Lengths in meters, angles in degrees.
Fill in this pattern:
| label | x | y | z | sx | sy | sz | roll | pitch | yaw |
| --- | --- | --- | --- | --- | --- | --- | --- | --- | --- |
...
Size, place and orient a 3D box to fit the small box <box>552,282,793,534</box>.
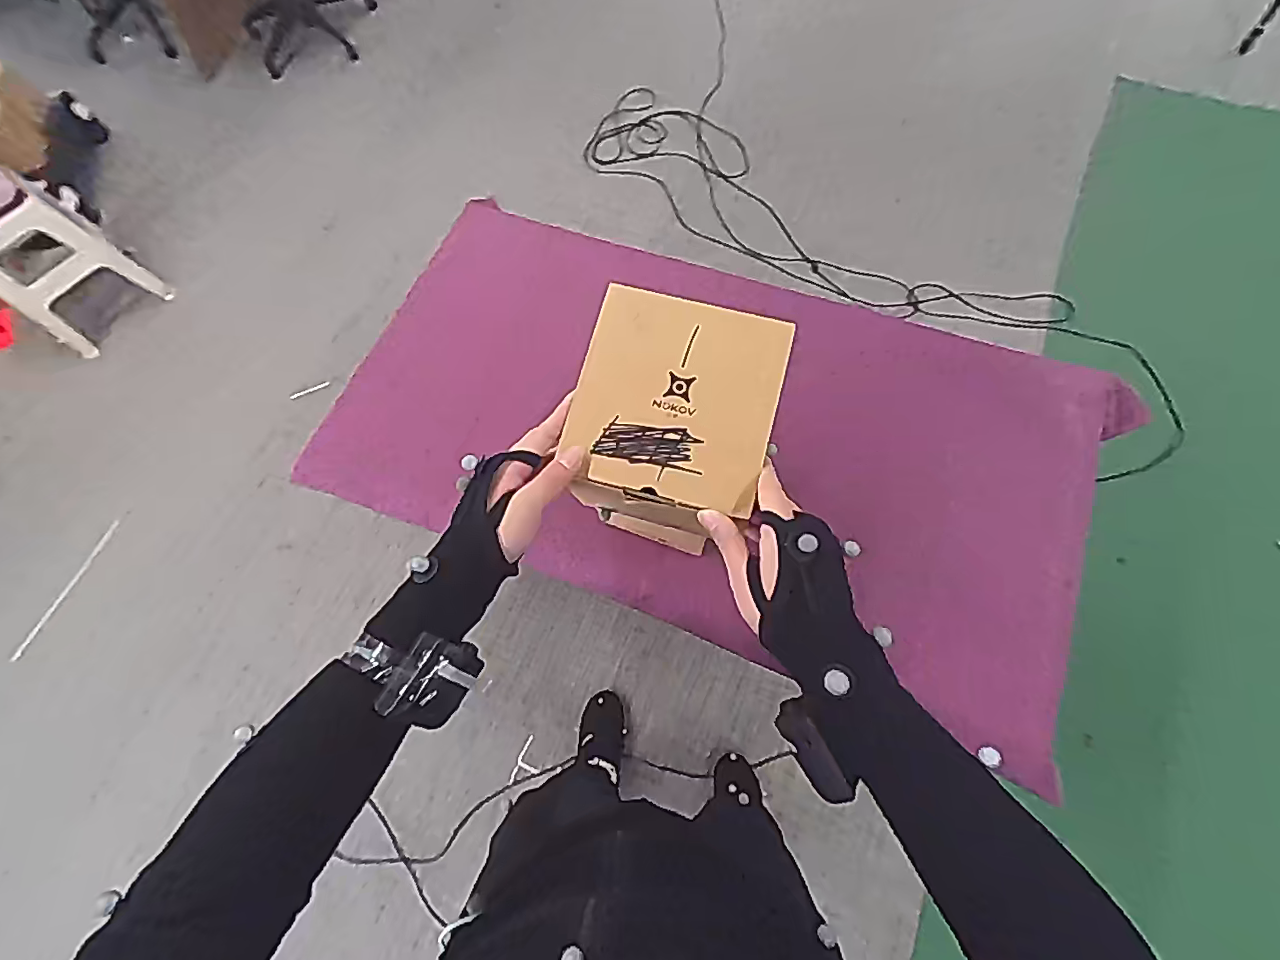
| label | x | y | z | sx | sy | sz | roll | pitch | yaw |
| --- | --- | --- | --- | --- | --- | --- | --- | --- | --- |
| small box | 0.033 | -0.055 | 0.524 | 0.168 | 0.176 | 0.179 | 15 | 79 | 6 |
